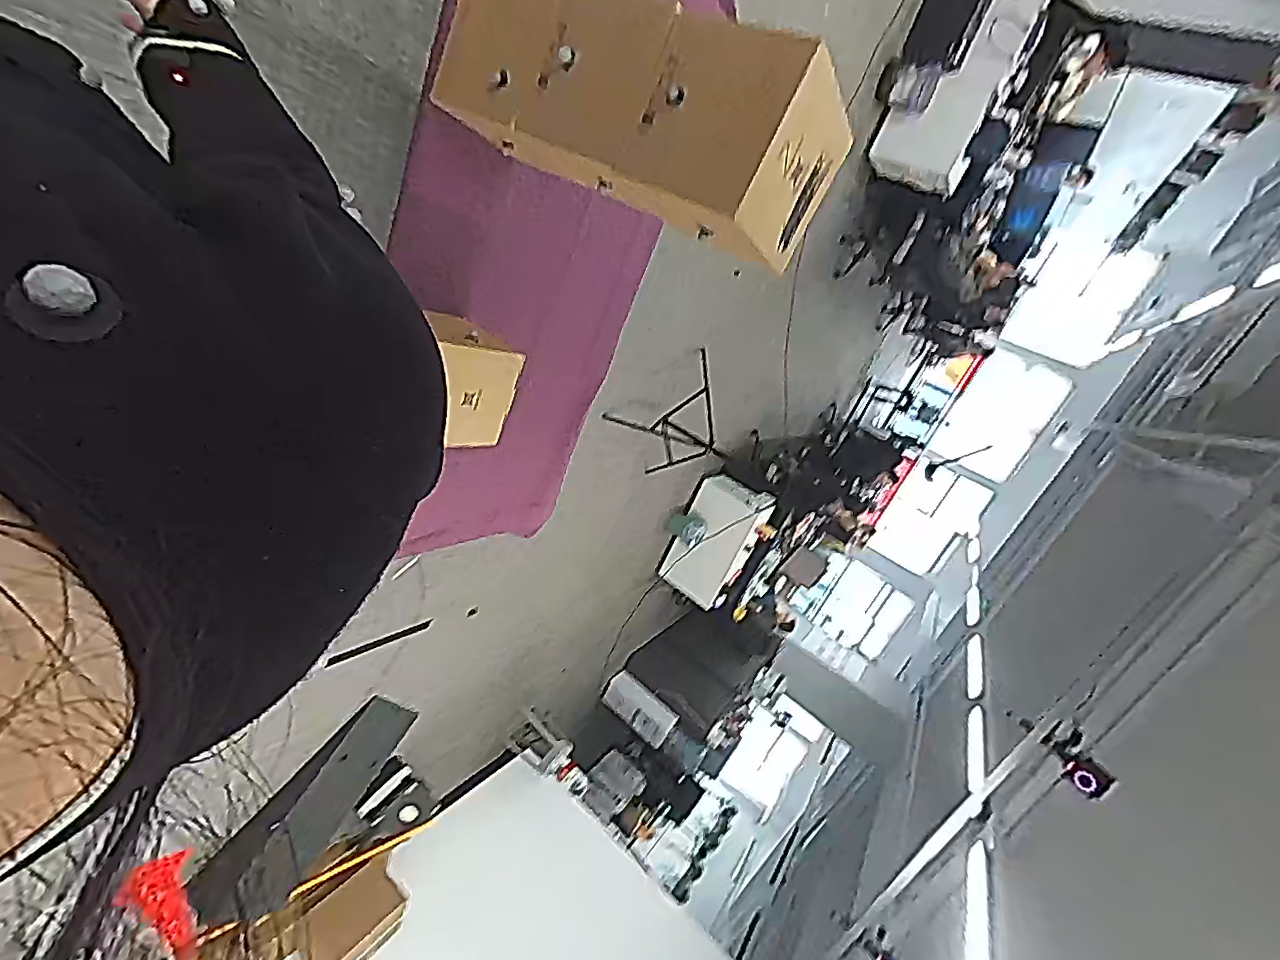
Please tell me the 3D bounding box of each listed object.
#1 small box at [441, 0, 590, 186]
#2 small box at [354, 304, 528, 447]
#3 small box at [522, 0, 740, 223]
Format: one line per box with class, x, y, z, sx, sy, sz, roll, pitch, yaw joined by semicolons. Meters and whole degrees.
small box;-0.138;-0.540;0.729;0.168;0.176;0.179;-5;125;-61
small box;-0.317;-0.165;0.865;0.179;0.176;0.168;-9;127;-57
small box;-0.010;-0.454;0.671;0.179;0.176;0.168;-5;125;-59
